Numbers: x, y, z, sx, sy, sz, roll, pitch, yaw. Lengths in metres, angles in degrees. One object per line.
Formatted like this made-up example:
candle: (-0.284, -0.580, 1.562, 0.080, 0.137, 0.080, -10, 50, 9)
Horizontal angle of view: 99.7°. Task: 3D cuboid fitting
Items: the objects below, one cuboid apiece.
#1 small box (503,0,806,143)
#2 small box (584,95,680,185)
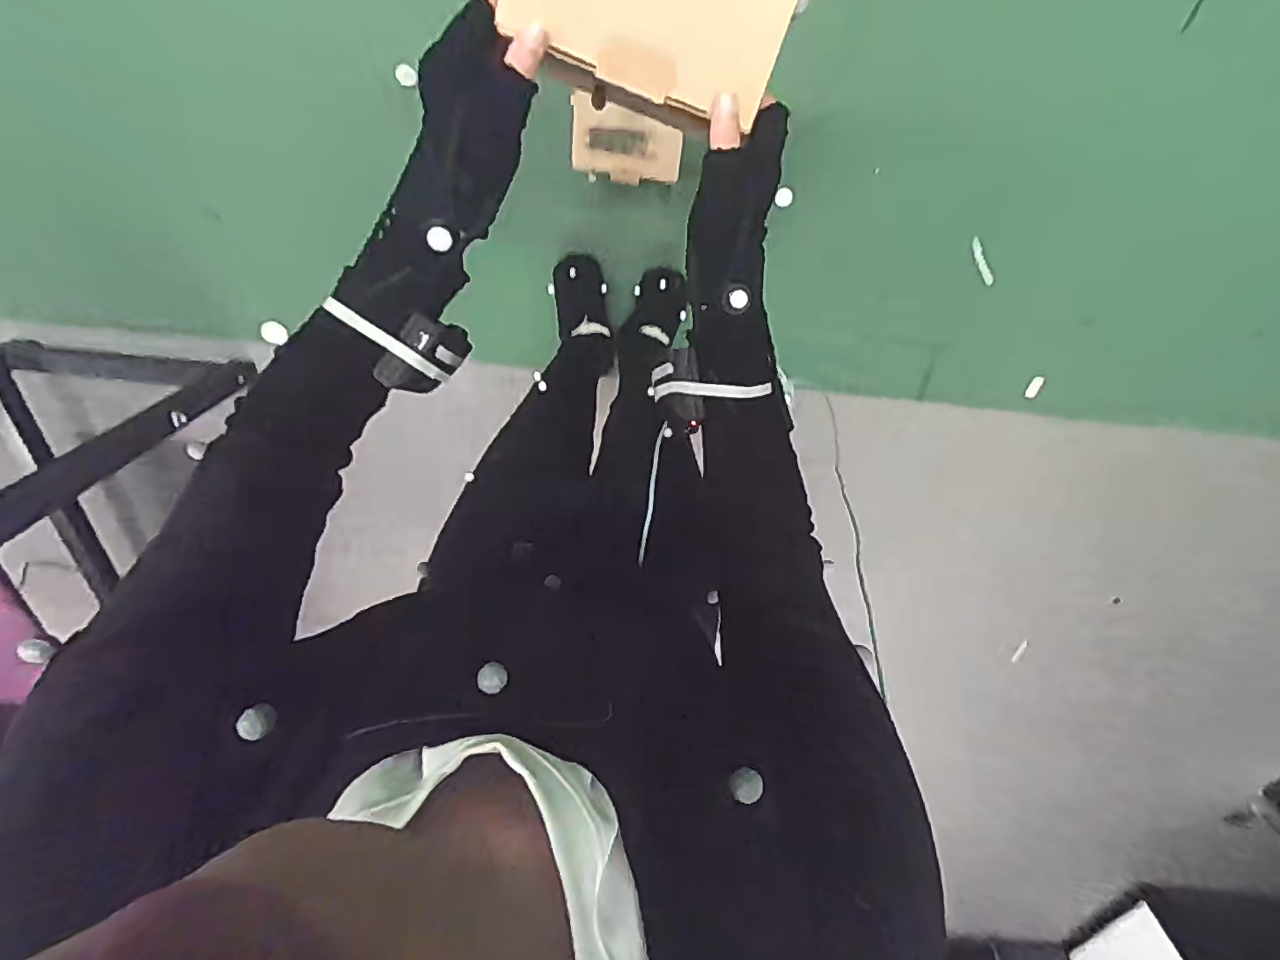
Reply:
small box: (0.014, -0.349, 0.354, 0.168, 0.176, 0.179, 12, 121, -15)
small box: (-0.007, -0.662, 1.003, 0.168, 0.176, 0.179, 7, 121, -4)
